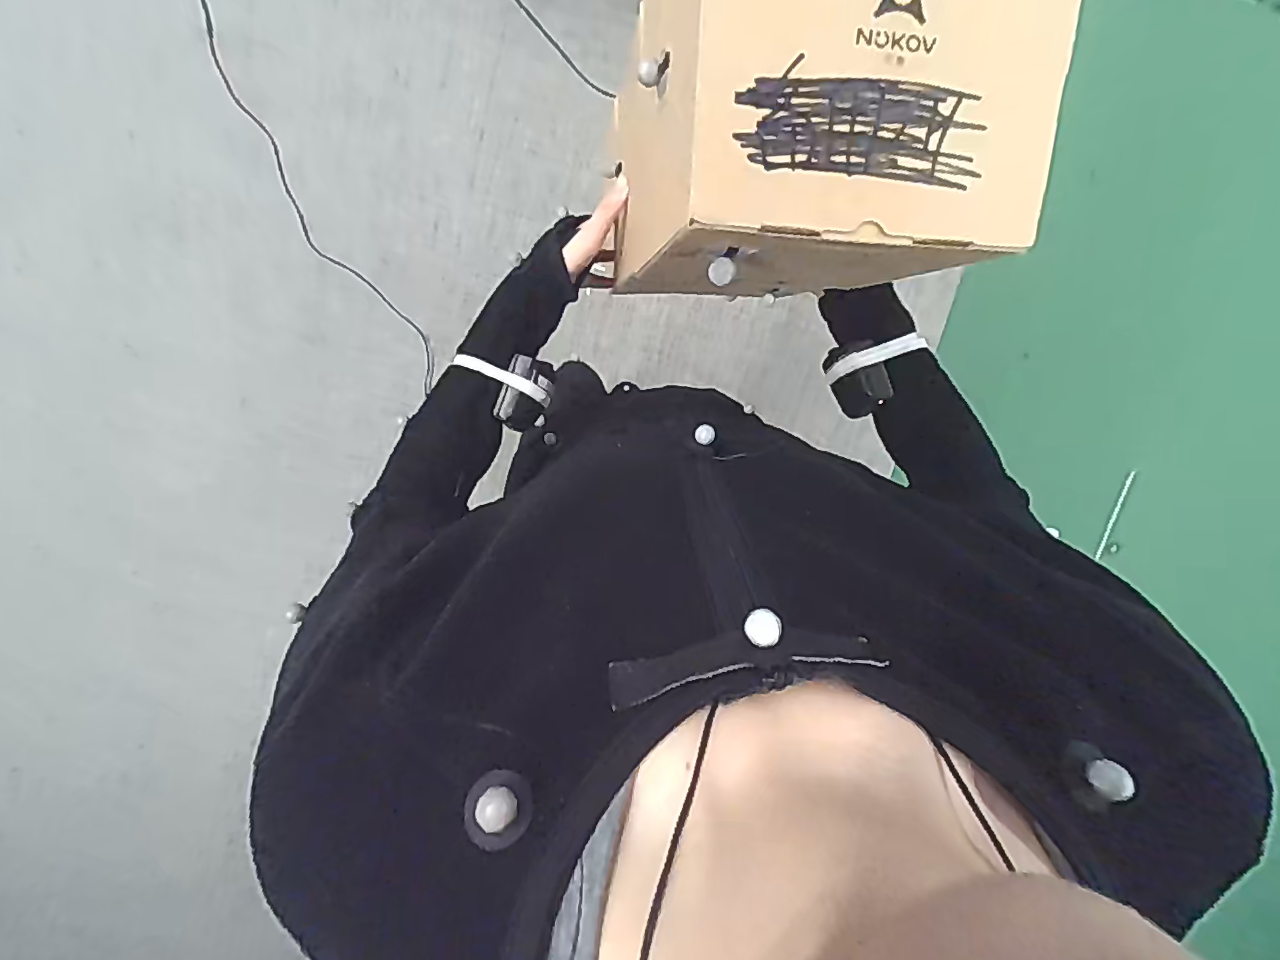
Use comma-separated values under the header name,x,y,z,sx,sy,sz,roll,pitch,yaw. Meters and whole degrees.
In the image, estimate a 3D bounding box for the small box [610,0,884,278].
name,x,y,z,sx,sy,sz,roll,pitch,yaw
small box,0.071,-0.270,0.459,0.179,0.176,0.168,-1,104,-8

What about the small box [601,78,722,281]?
name,x,y,z,sx,sy,sz,roll,pitch,yaw
small box,0.051,-0.323,0.613,0.179,0.176,0.168,-3,104,-7
